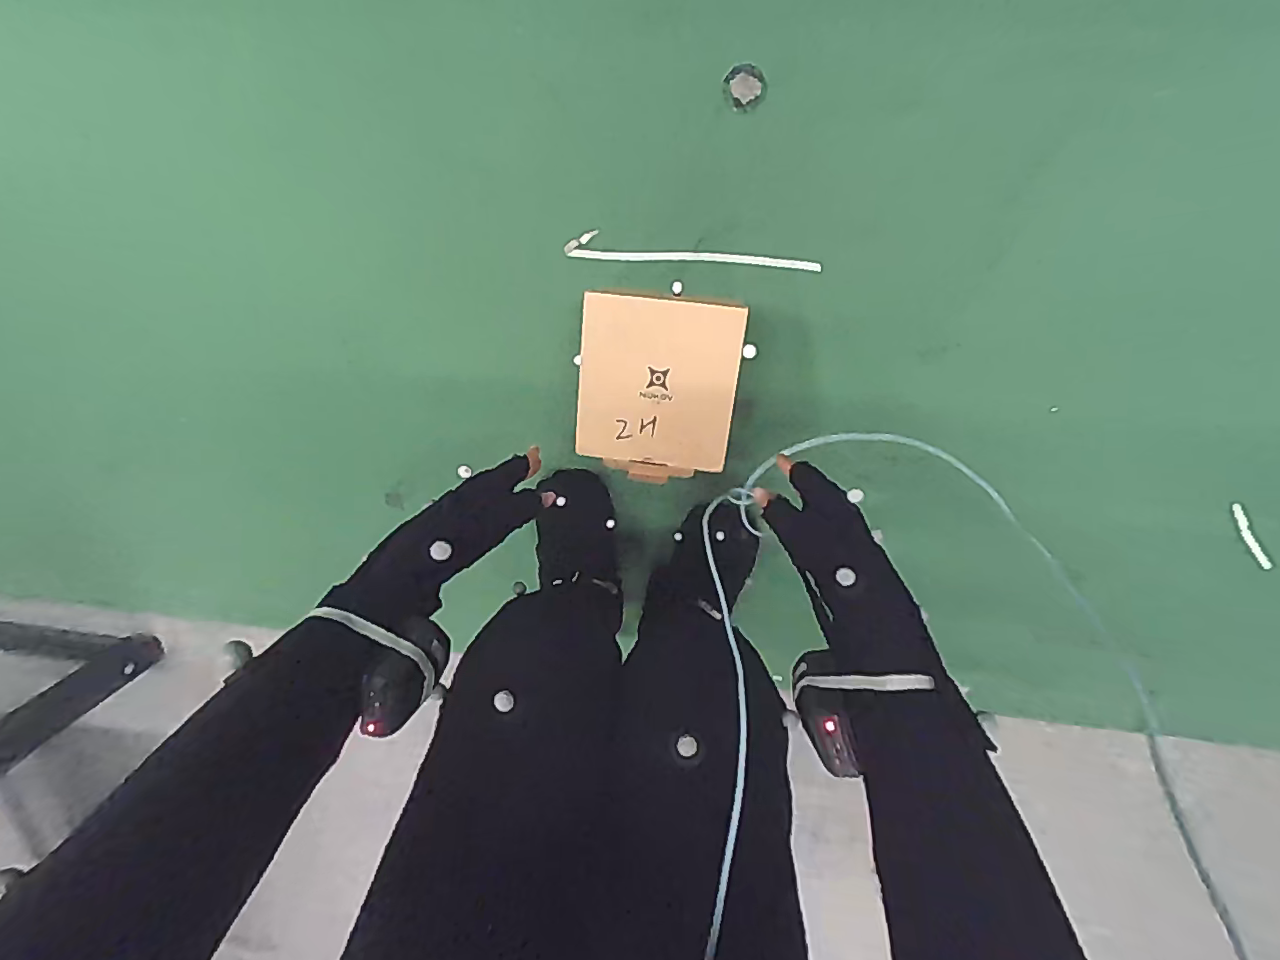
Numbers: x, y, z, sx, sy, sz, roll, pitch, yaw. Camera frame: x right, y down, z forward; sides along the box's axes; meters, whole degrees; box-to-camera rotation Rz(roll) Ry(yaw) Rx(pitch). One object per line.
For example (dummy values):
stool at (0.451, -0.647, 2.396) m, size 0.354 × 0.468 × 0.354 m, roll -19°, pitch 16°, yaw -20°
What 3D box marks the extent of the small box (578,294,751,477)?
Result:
small box at (0.029, -0.122, 0.639) m, size 0.168 × 0.176 × 0.179 m, roll 8°, pitch 111°, yaw 4°
